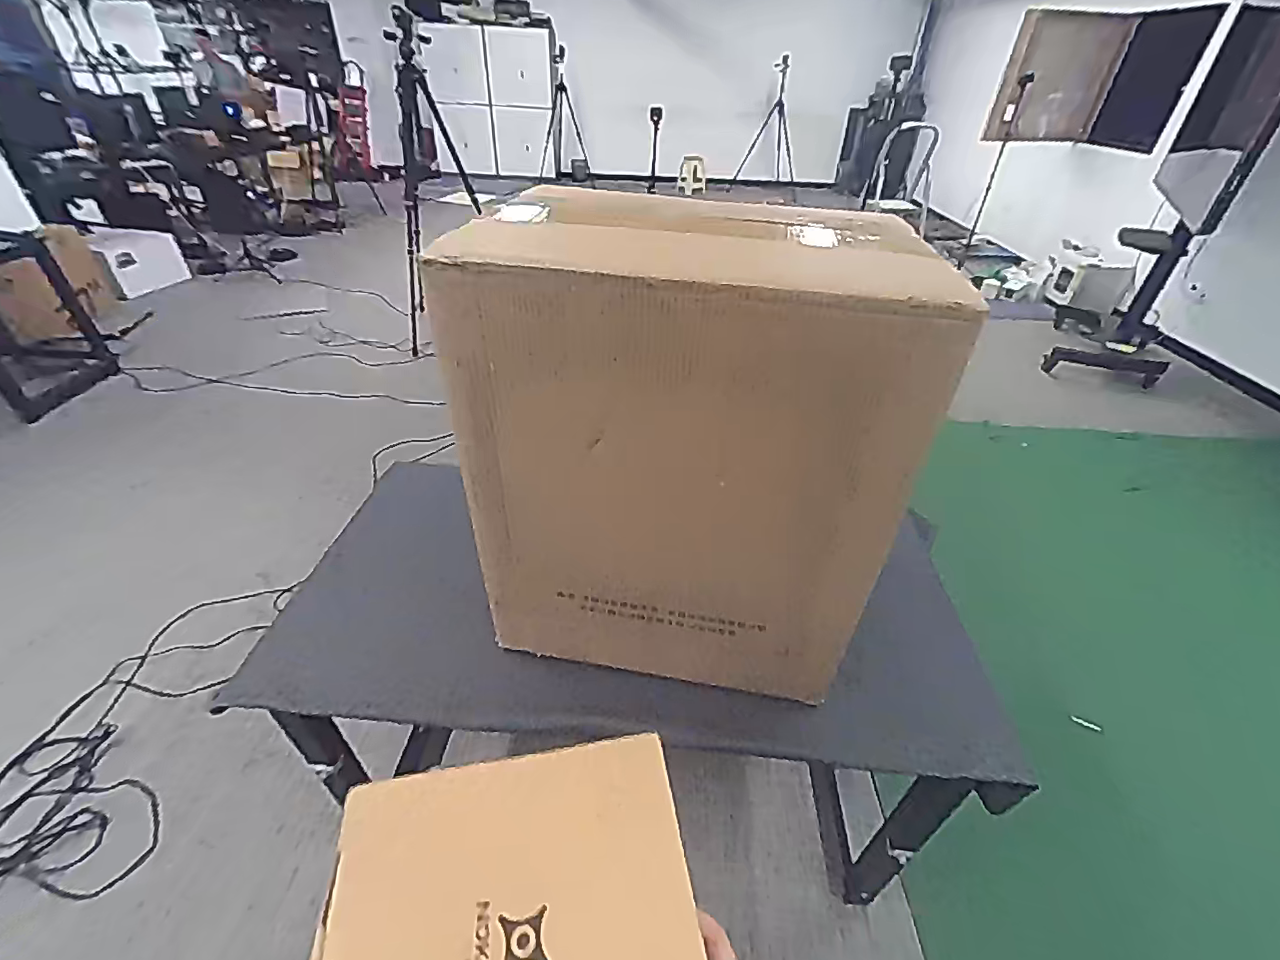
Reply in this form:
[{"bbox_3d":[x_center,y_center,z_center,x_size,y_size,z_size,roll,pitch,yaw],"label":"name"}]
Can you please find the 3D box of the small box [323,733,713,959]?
[{"bbox_3d":[-0.059,0.271,0.306,0.179,0.176,0.168,-6,42,-9],"label":"small box"}]
